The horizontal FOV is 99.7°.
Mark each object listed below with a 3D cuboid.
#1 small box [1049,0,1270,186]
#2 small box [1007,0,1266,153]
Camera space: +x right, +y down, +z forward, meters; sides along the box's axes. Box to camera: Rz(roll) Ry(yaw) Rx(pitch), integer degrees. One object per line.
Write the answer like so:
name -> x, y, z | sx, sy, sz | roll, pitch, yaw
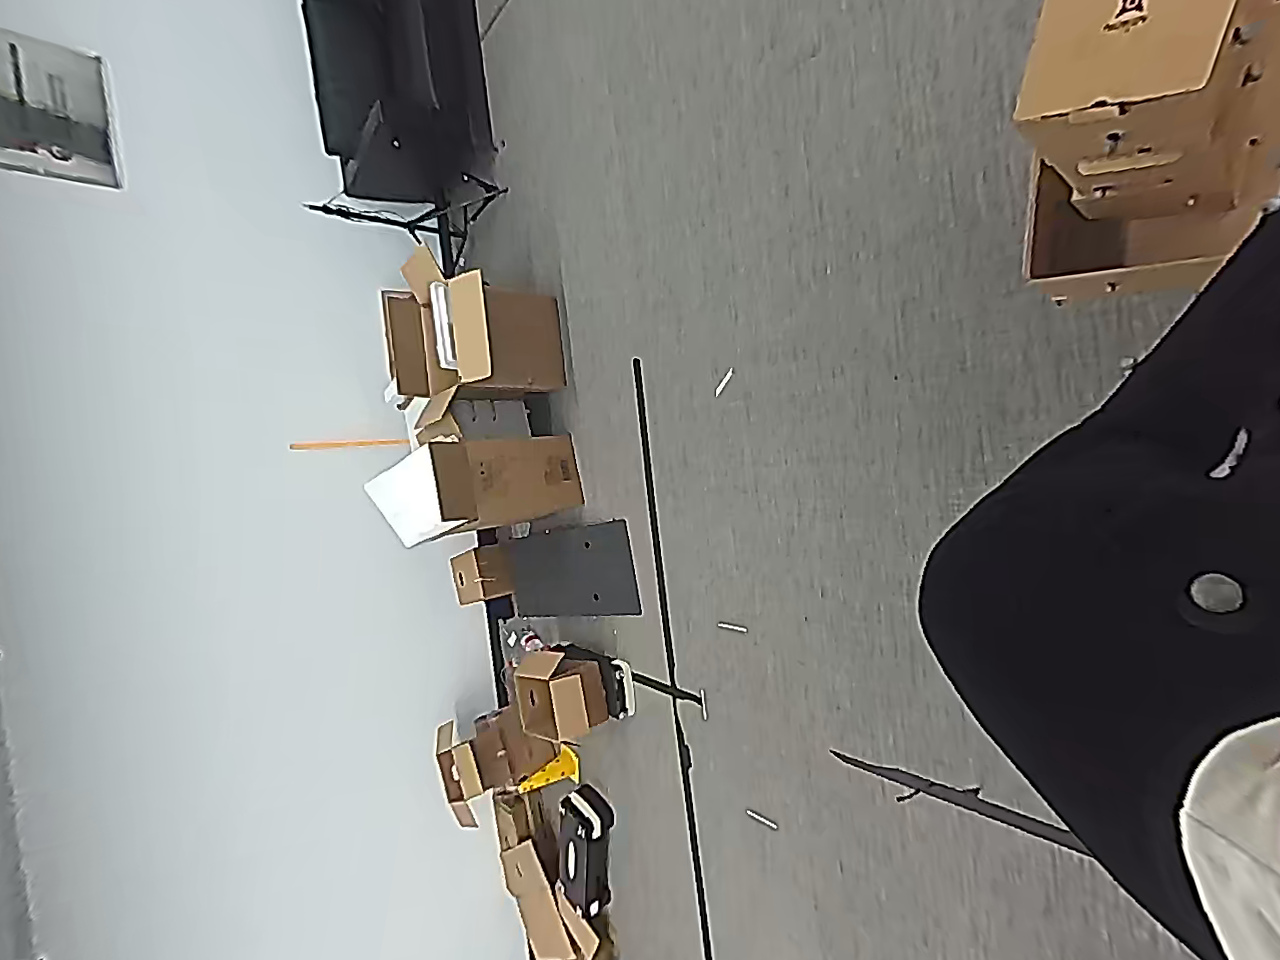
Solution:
small box -> 0.677, -0.503, 0.706 | 0.168, 0.176, 0.179 | 20, 109, 47
small box -> 0.552, -0.483, 0.600 | 0.168, 0.176, 0.179 | 26, 115, 46
